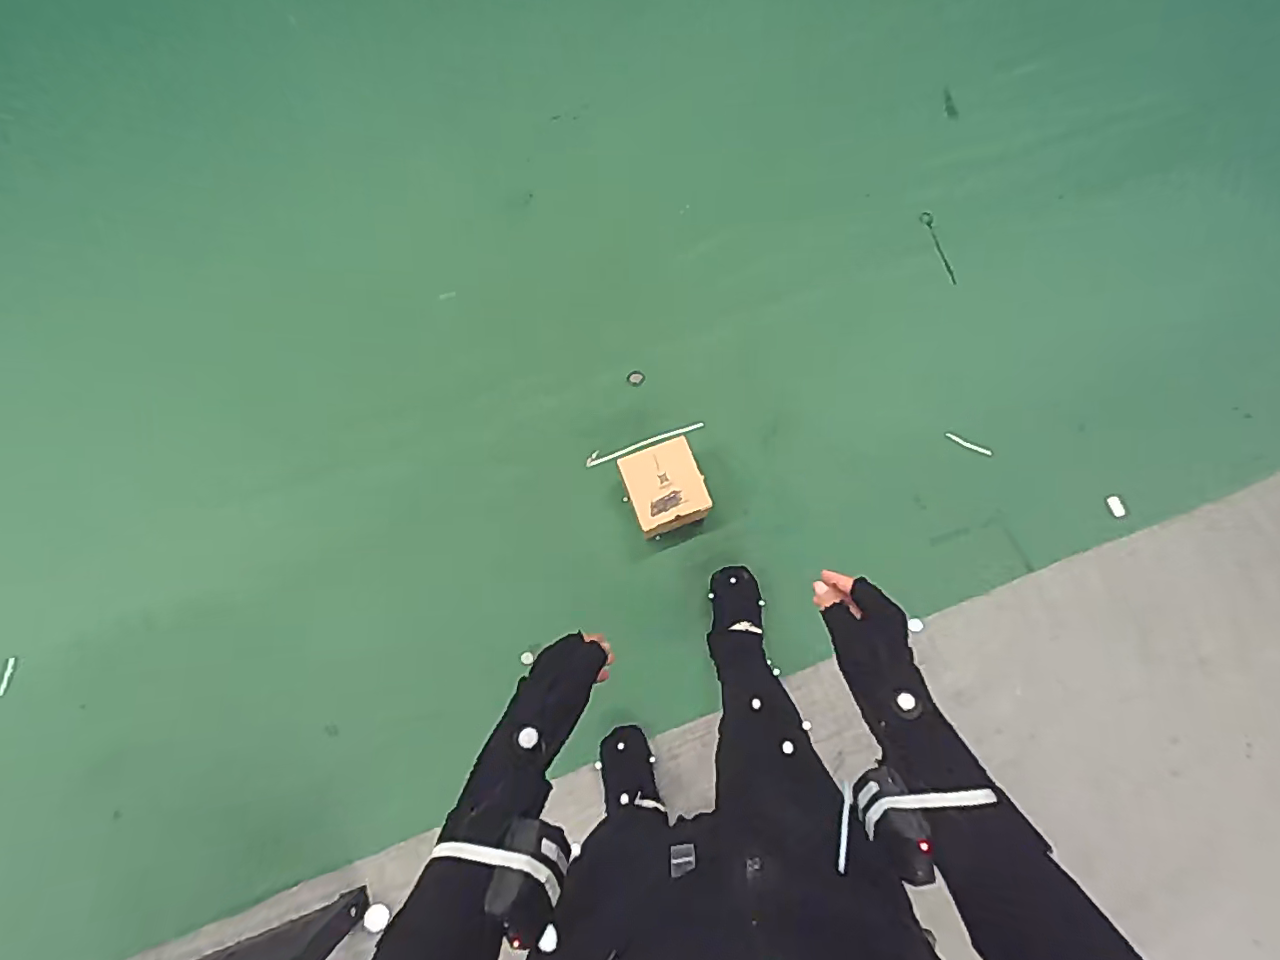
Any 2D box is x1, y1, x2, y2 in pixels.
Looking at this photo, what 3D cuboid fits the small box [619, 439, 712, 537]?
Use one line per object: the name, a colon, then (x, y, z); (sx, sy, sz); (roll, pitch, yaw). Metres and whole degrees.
small box: (0.058, 0.028, 1.278); (0.168, 0.176, 0.179); (-20, 77, -4)
